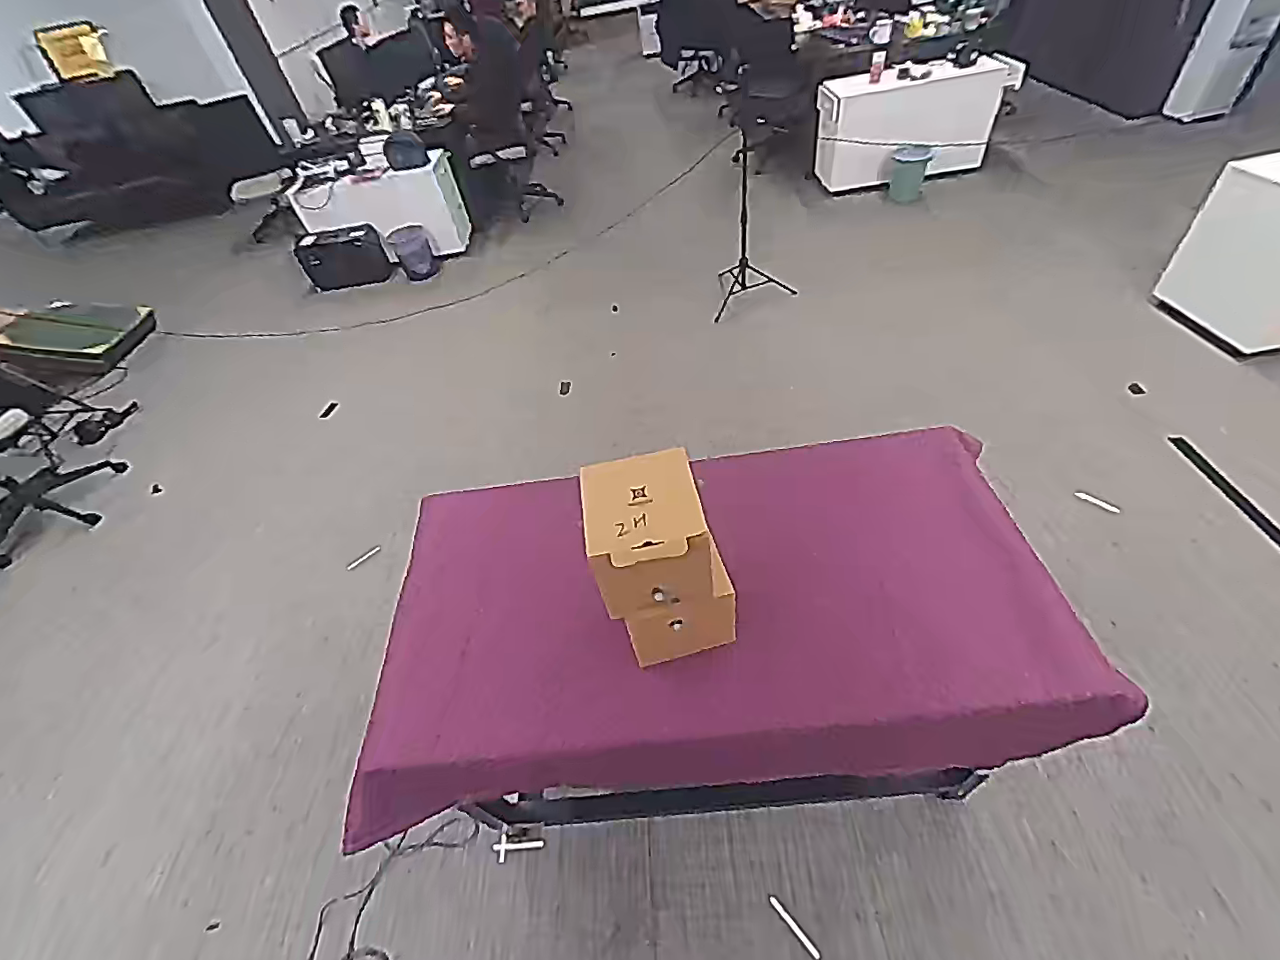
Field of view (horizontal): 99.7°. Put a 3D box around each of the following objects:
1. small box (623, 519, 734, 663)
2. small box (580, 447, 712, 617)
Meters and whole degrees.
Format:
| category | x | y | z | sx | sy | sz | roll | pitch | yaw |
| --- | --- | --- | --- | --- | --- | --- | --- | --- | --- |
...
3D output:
| category | x | y | z | sx | sy | sz | roll | pitch | yaw |
| --- | --- | --- | --- | --- | --- | --- | --- | --- | --- |
| small box | 0.055 | 0.192 | 0.935 | 0.179 | 0.176 | 0.168 | -15 | 47 | -4 |
| small box | 0.010 | 0.080 | 0.820 | 0.168 | 0.176 | 0.179 | -12 | 47 | 1 |
